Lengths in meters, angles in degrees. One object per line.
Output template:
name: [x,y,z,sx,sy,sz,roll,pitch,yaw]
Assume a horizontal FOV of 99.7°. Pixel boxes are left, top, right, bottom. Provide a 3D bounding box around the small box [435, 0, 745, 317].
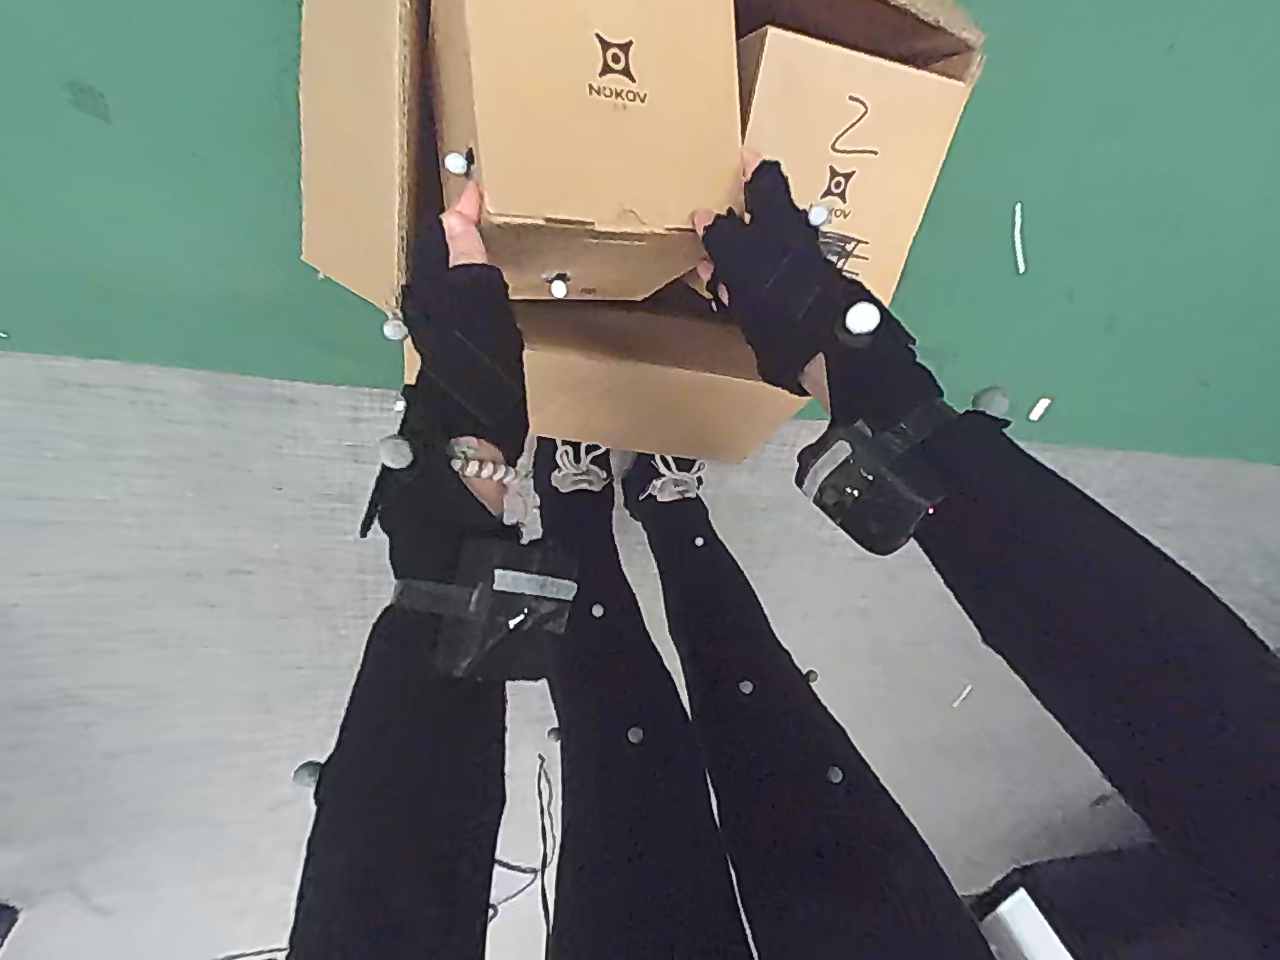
small box: [-0.045,-0.222,0.386,0.168,0.176,0.179,-9,99,-24]
